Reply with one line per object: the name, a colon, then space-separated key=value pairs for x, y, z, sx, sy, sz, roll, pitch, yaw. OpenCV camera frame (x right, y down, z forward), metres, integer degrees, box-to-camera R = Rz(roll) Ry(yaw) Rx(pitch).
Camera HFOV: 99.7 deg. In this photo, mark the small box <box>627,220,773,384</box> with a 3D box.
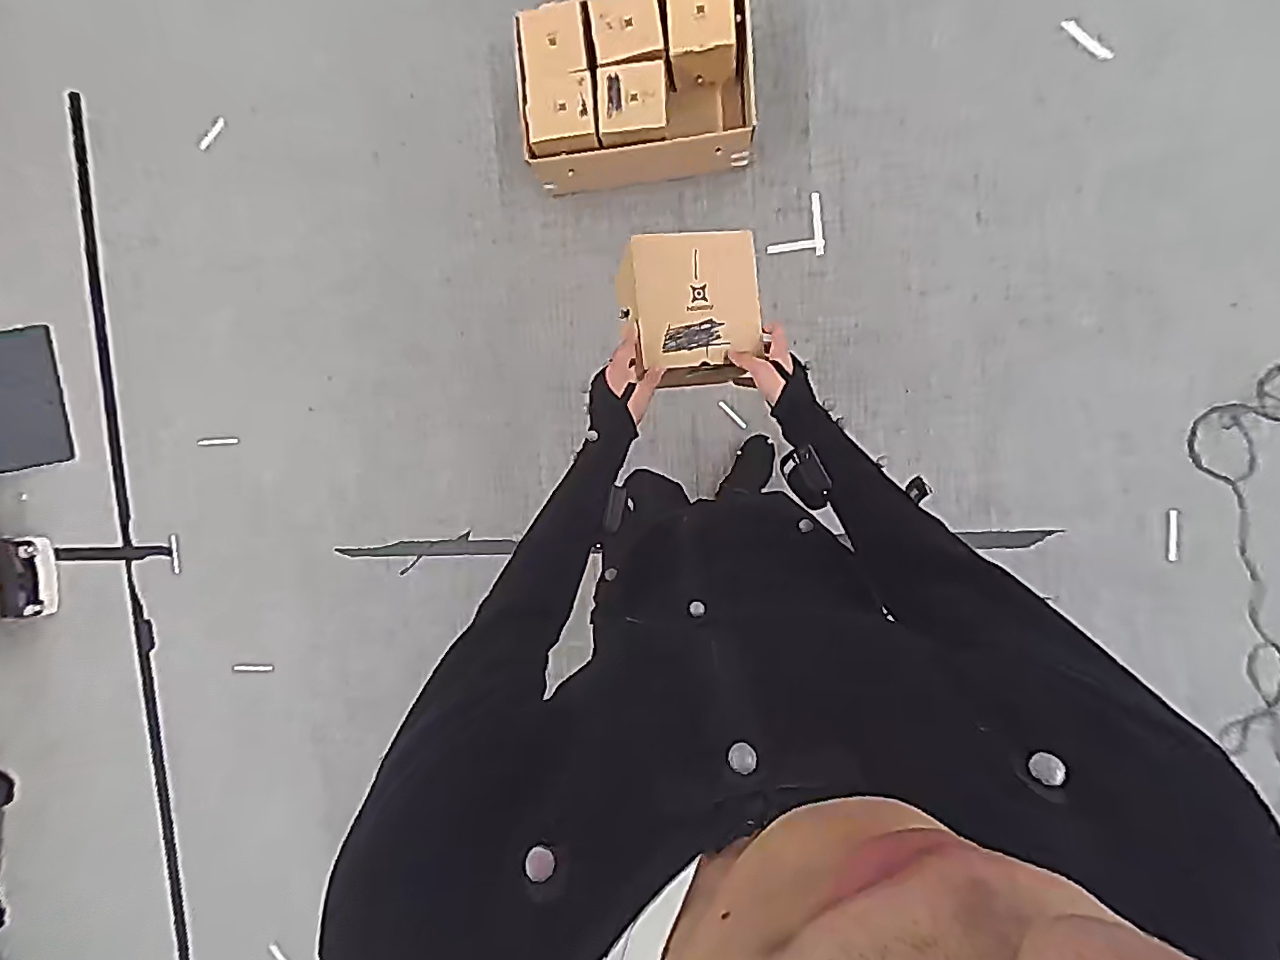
small box: x=0.075 y=-0.238 z=0.765 sx=0.168 sy=0.176 sz=0.179 roll=-7 pitch=89 yaw=-6
